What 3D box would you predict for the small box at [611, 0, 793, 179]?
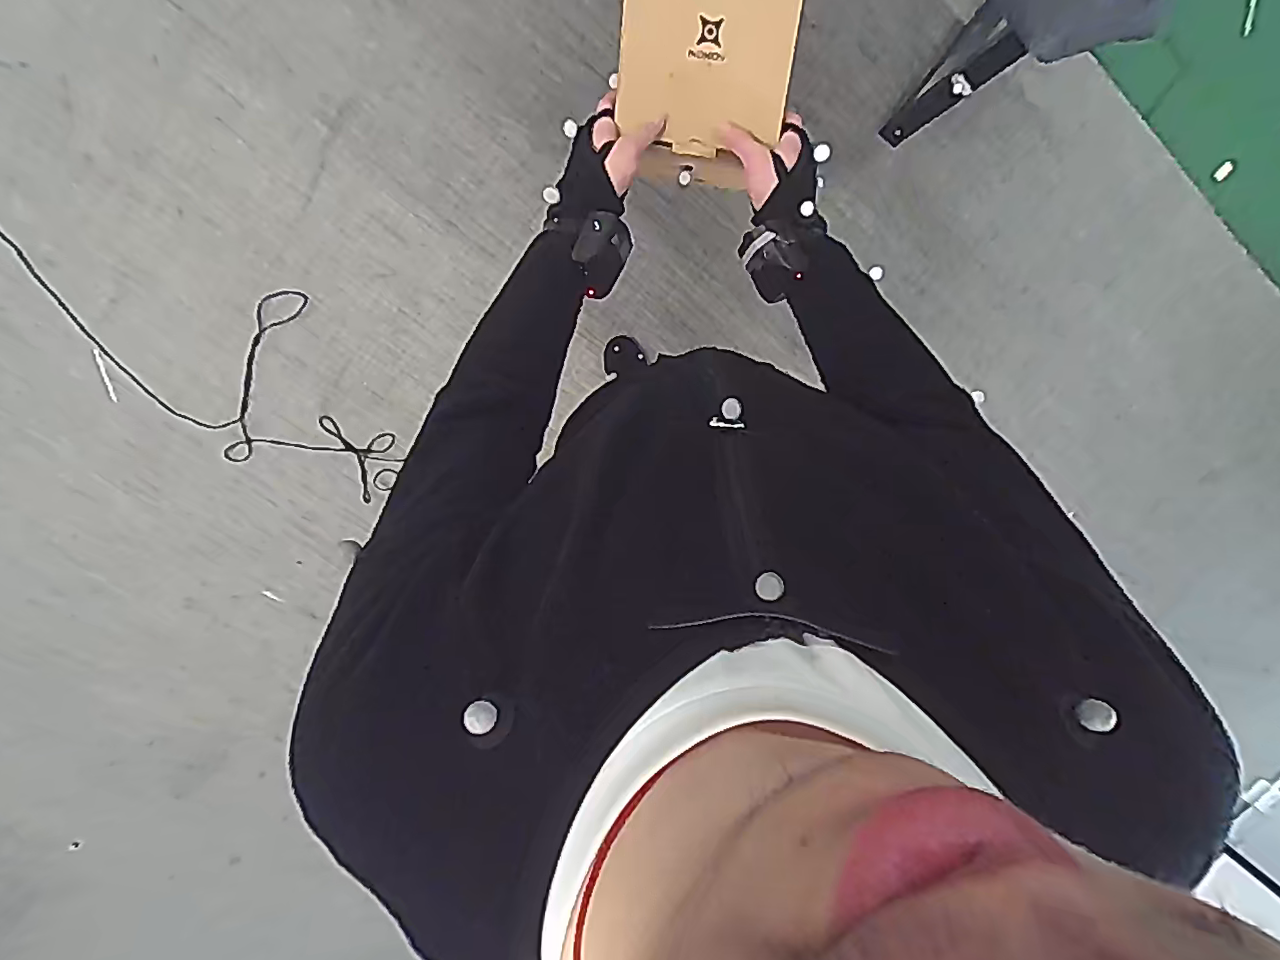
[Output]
[{"bbox_3d":[0.060,-0.442,0.588,0.168,0.176,0.179,4,108,-1],"label":"small box"}]
